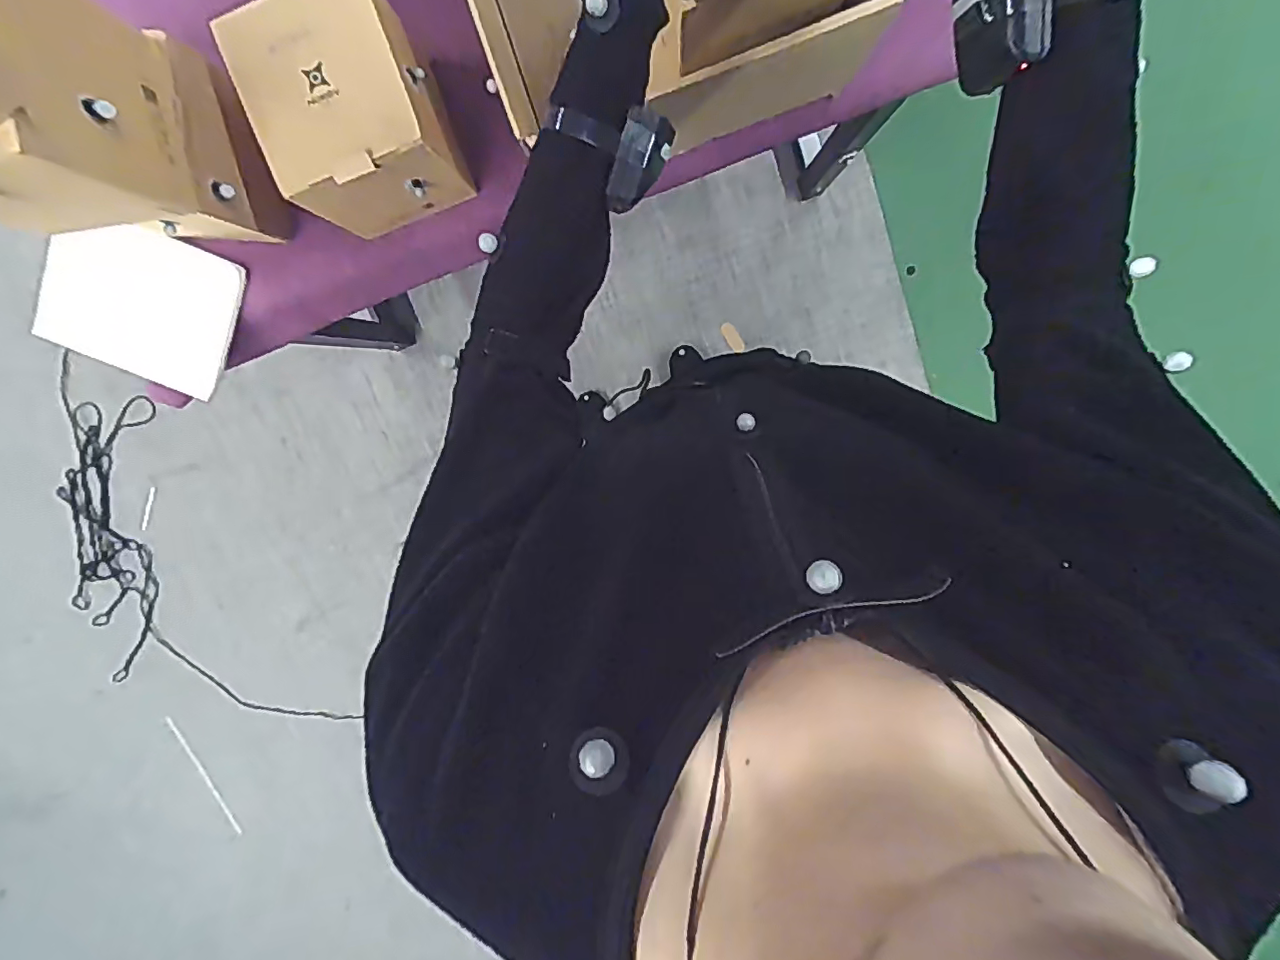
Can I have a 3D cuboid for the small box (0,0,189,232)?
[{"bbox_3d":[-0.556,-0.336,0.484,0.179,0.176,0.168,-5,101,4],"label":"small box"}]
